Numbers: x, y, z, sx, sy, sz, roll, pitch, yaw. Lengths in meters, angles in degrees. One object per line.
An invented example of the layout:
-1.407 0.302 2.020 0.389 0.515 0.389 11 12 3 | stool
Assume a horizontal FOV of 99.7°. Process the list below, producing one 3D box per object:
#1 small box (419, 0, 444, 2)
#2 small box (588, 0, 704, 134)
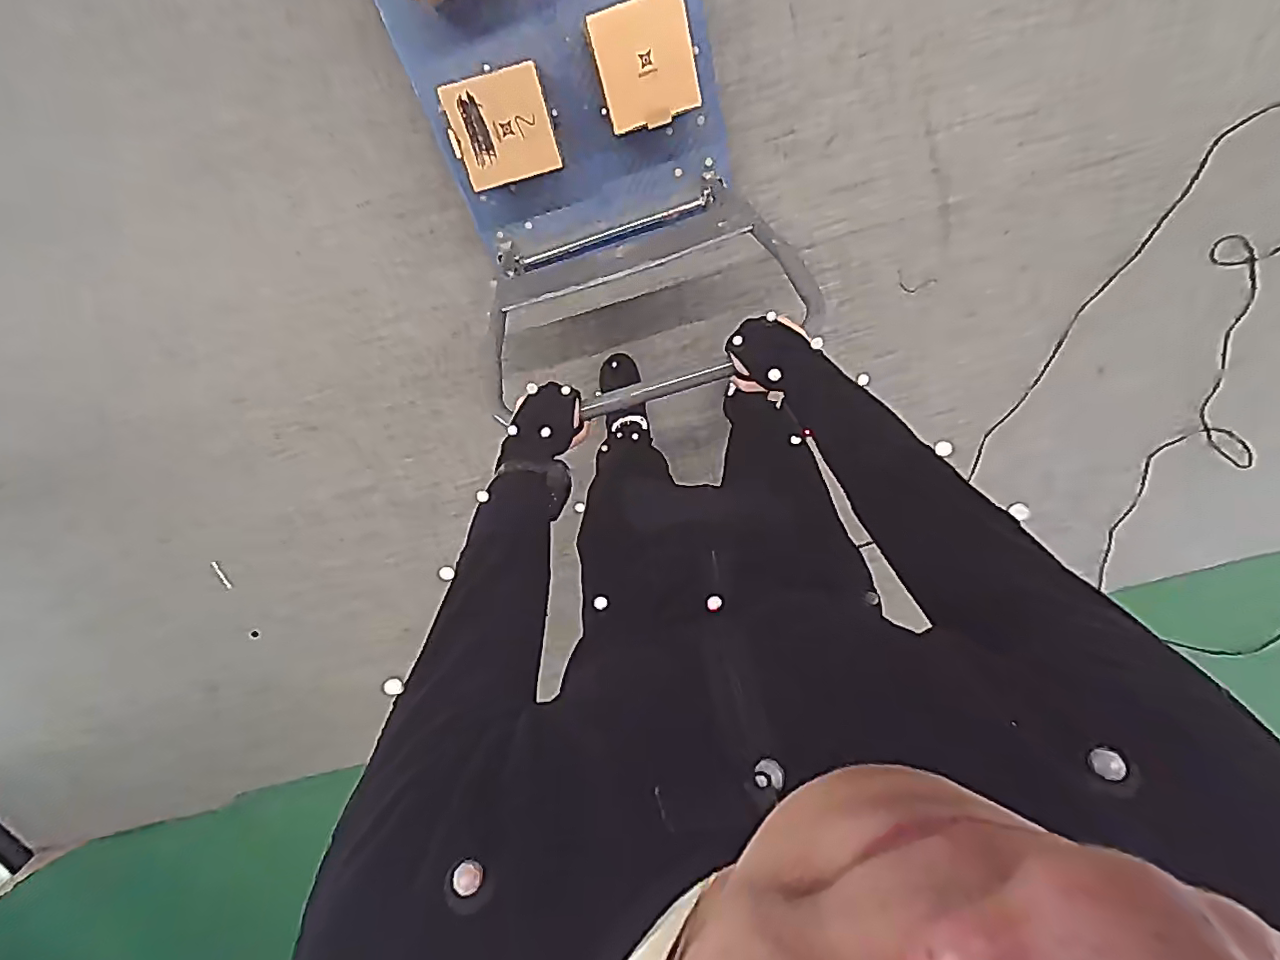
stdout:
-0.319 -0.898 0.855 0.168 0.176 0.179 -22 126 8 | small box
0.007 -0.768 0.998 0.168 0.176 0.179 -17 128 5 | small box
